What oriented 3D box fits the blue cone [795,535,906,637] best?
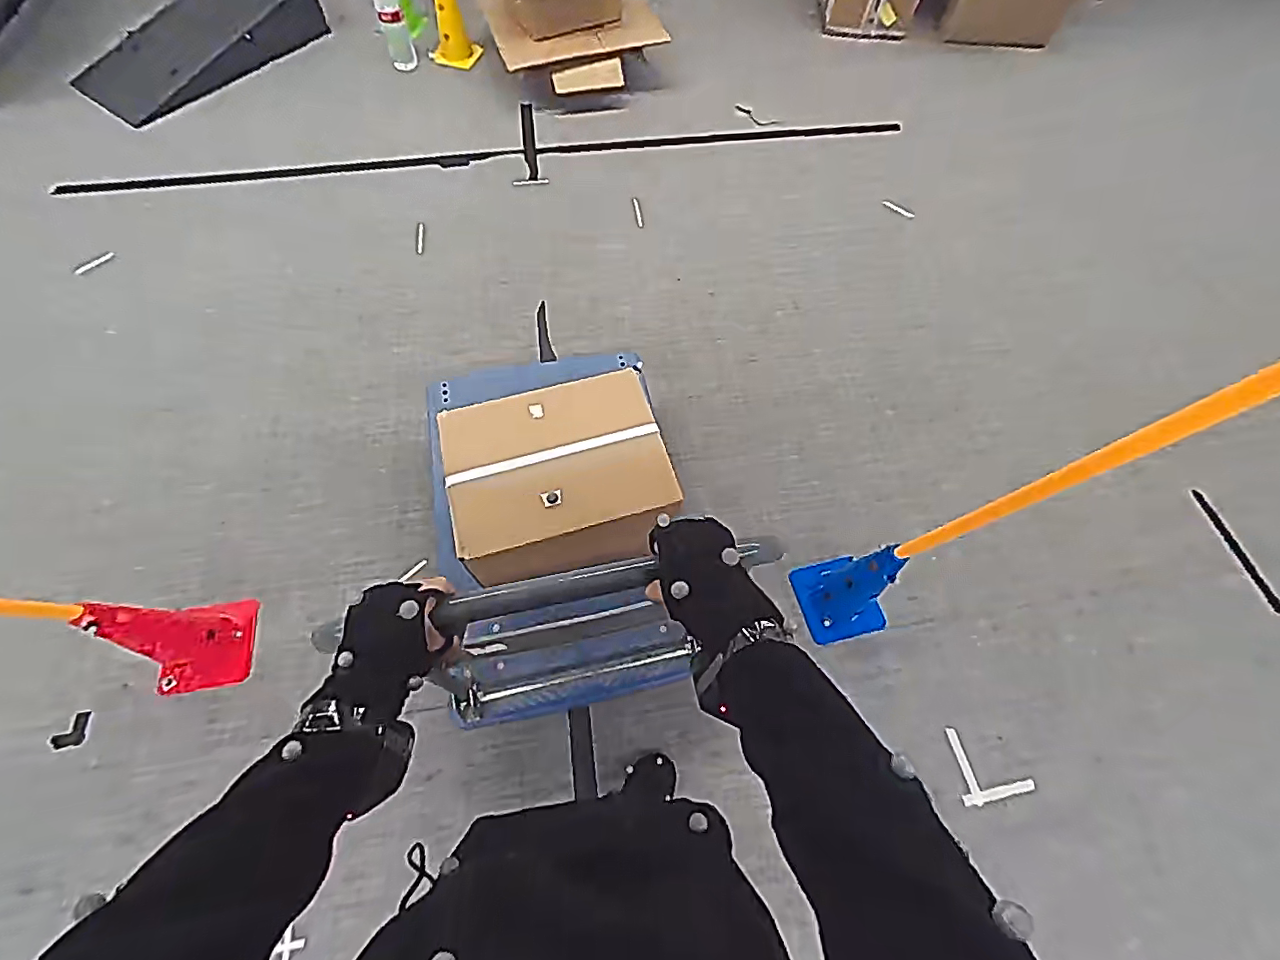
[{"bbox_3d":[0.518,0.222,1.248,0.193,0.380,0.192,-11,63,-8],"label":"blue cone"}]
